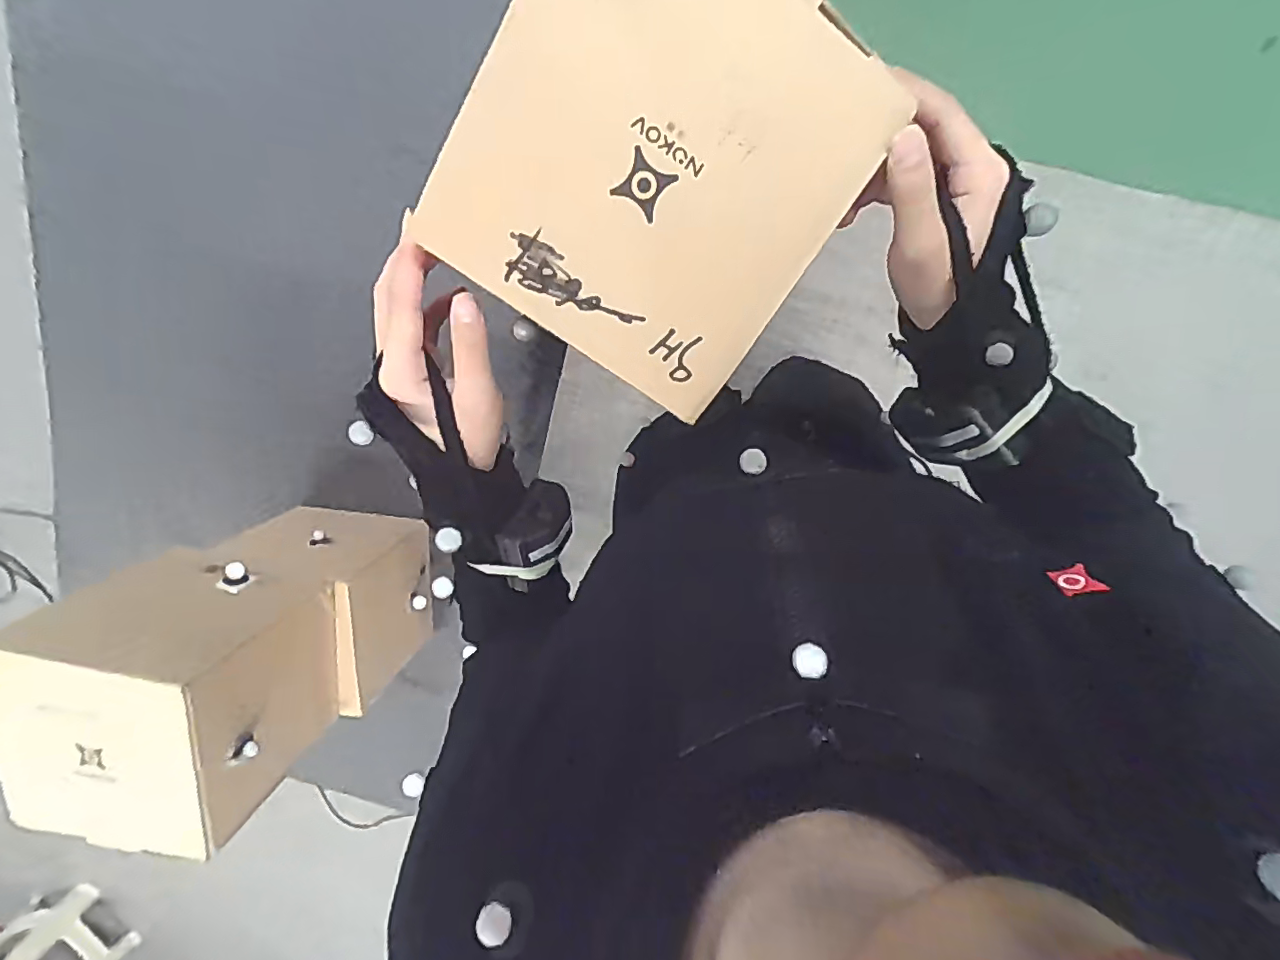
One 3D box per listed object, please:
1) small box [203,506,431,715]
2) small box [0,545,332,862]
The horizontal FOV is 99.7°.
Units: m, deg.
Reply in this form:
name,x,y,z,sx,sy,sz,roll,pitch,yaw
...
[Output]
name,x,y,z,sx,sy,sz,roll,pitch,yaw
small box,-0.367,0.138,0.629,0.179,0.176,0.168,6,108,4
small box,-0.398,0.180,0.475,0.168,0.176,0.179,9,108,2
